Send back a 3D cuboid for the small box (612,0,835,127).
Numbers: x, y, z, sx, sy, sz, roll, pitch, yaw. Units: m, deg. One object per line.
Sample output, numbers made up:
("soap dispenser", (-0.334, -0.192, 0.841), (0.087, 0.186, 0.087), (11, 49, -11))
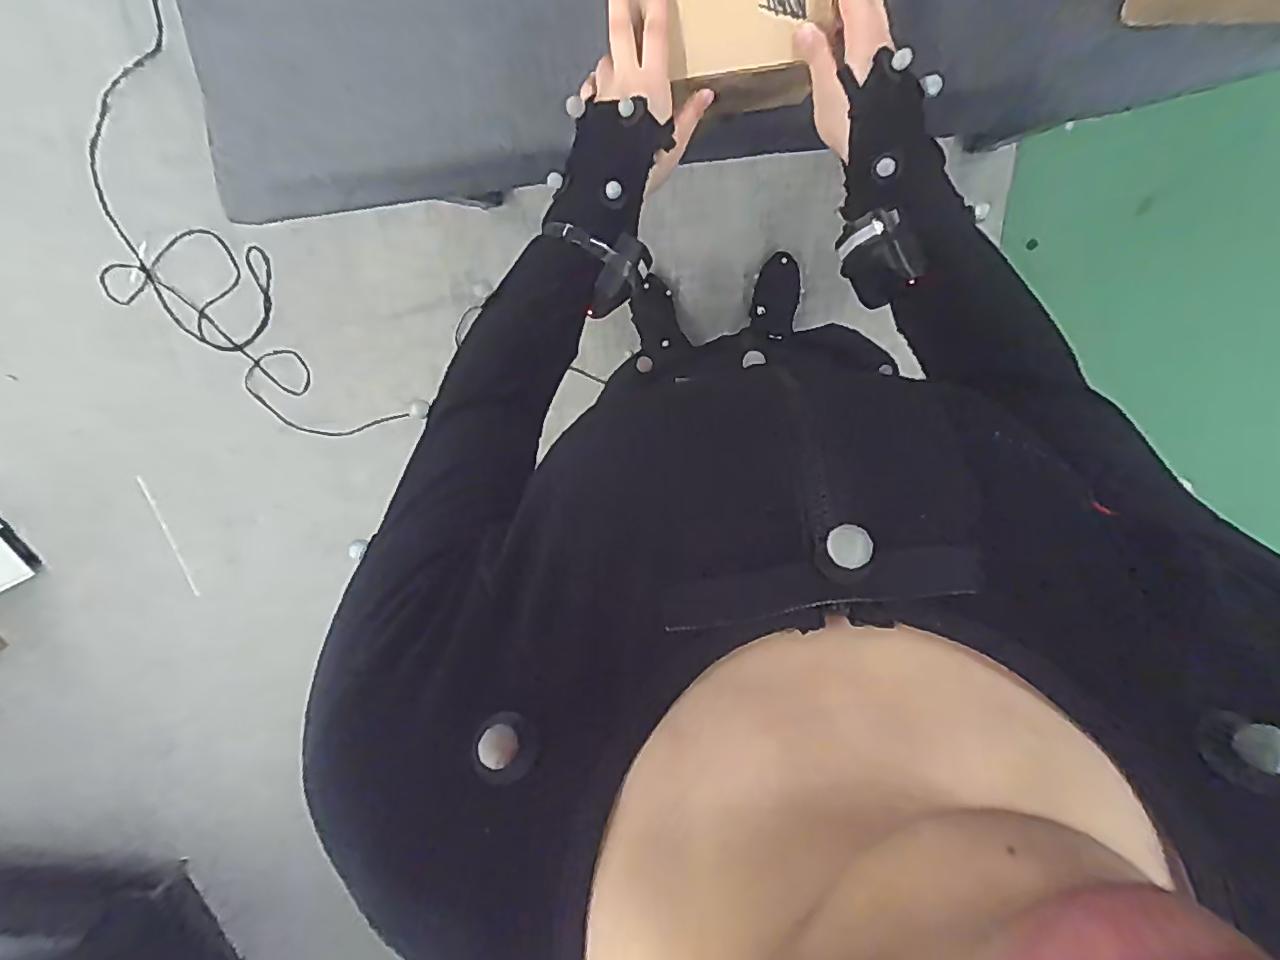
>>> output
("small box", (0.072, -0.435, 0.487), (0.179, 0.176, 0.168), (-2, 114, 10))
